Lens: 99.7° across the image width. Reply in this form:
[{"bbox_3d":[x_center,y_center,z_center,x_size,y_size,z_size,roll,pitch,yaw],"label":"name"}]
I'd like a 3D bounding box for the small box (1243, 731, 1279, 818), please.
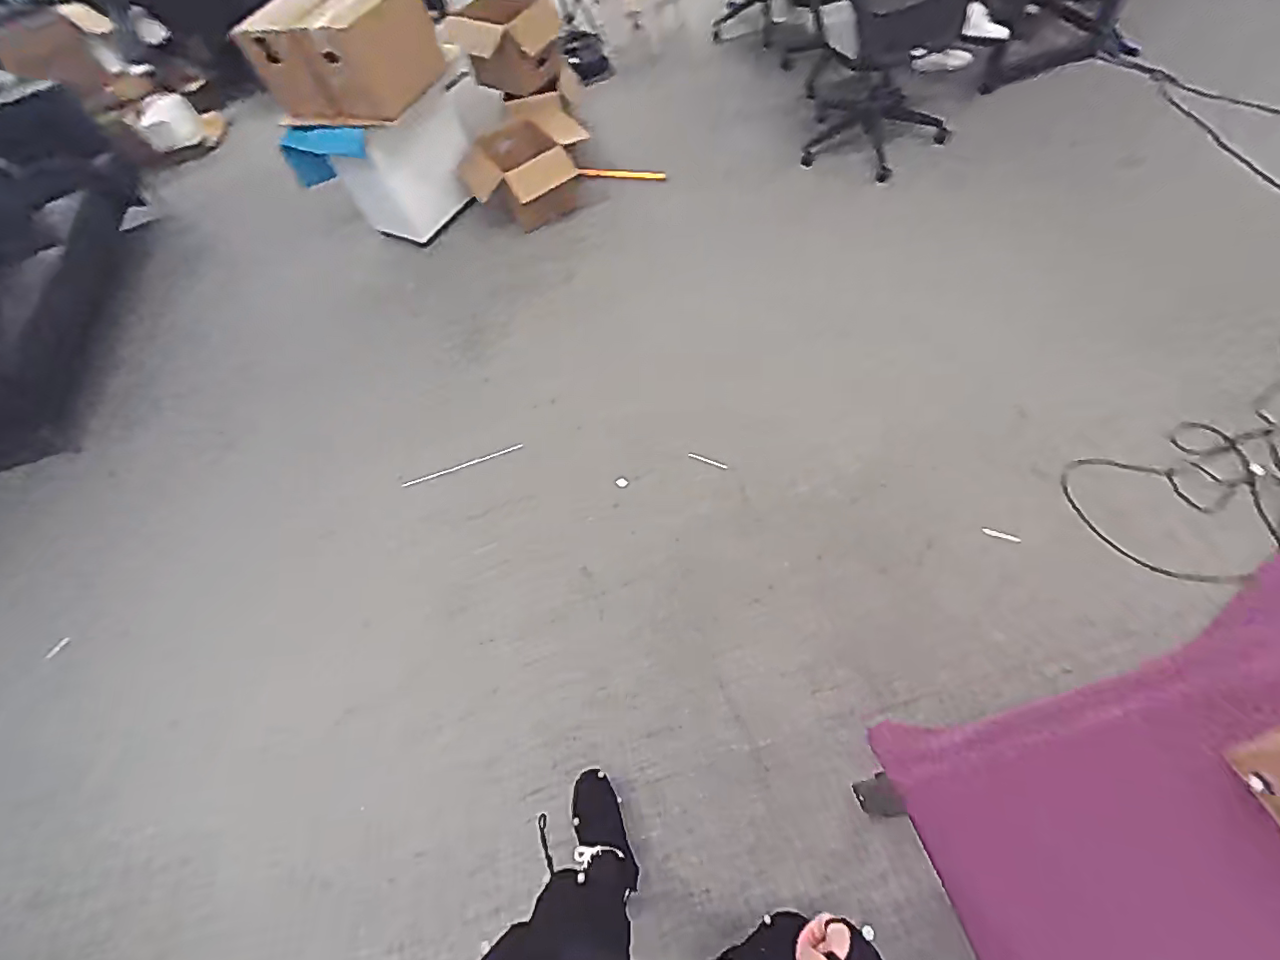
[{"bbox_3d":[0.792,0.330,0.544,0.179,0.176,0.168,-19,59,-1],"label":"small box"}]
